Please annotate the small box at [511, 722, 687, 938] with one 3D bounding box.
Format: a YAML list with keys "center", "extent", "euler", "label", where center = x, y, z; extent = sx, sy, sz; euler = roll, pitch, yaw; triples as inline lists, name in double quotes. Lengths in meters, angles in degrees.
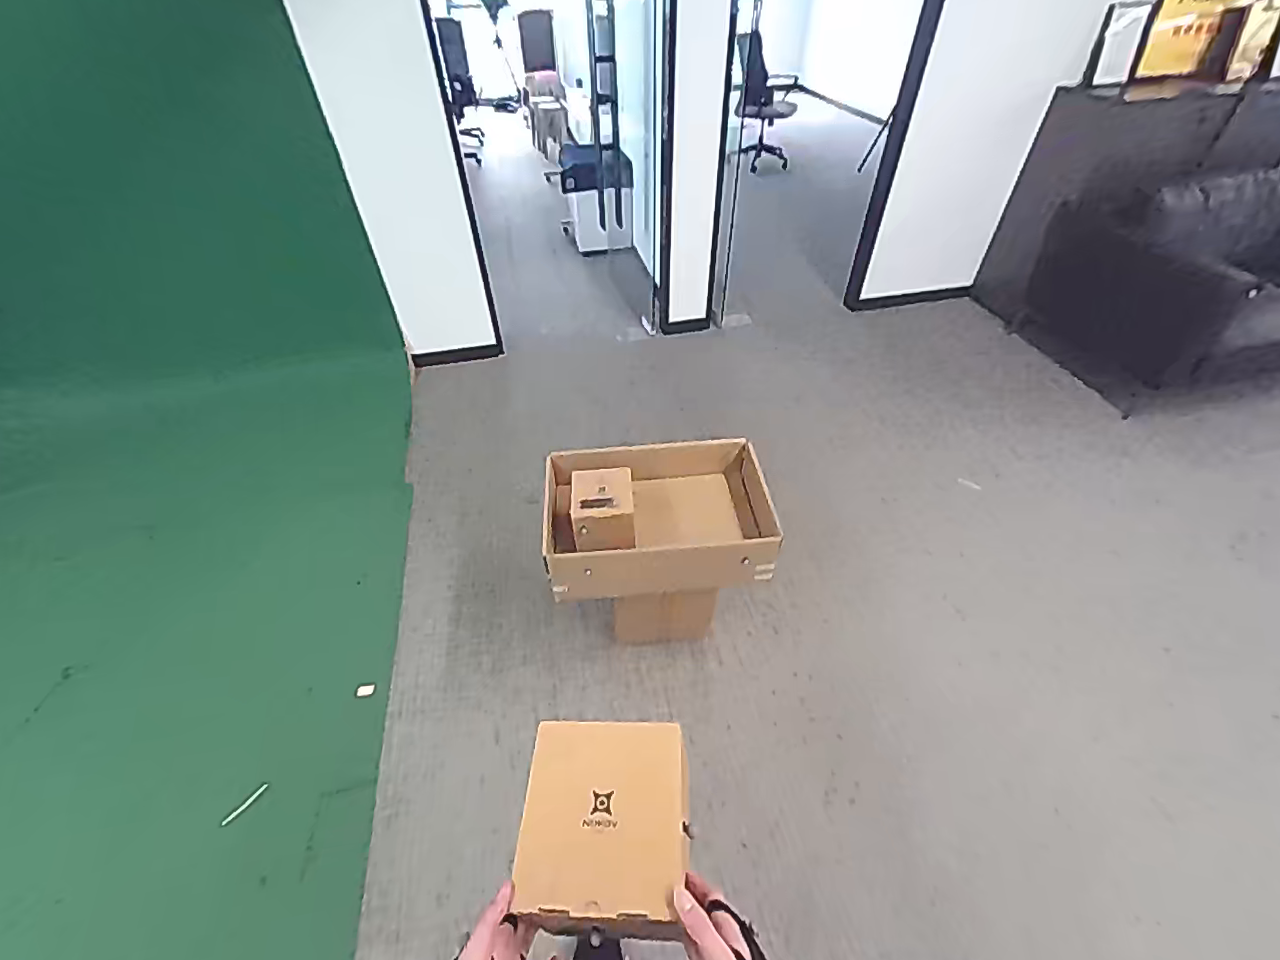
- center: [-0.031, 0.397, 0.616]
  extent: [0.168, 0.176, 0.179]
  euler: [-1, 47, 5]
  label: "small box"
